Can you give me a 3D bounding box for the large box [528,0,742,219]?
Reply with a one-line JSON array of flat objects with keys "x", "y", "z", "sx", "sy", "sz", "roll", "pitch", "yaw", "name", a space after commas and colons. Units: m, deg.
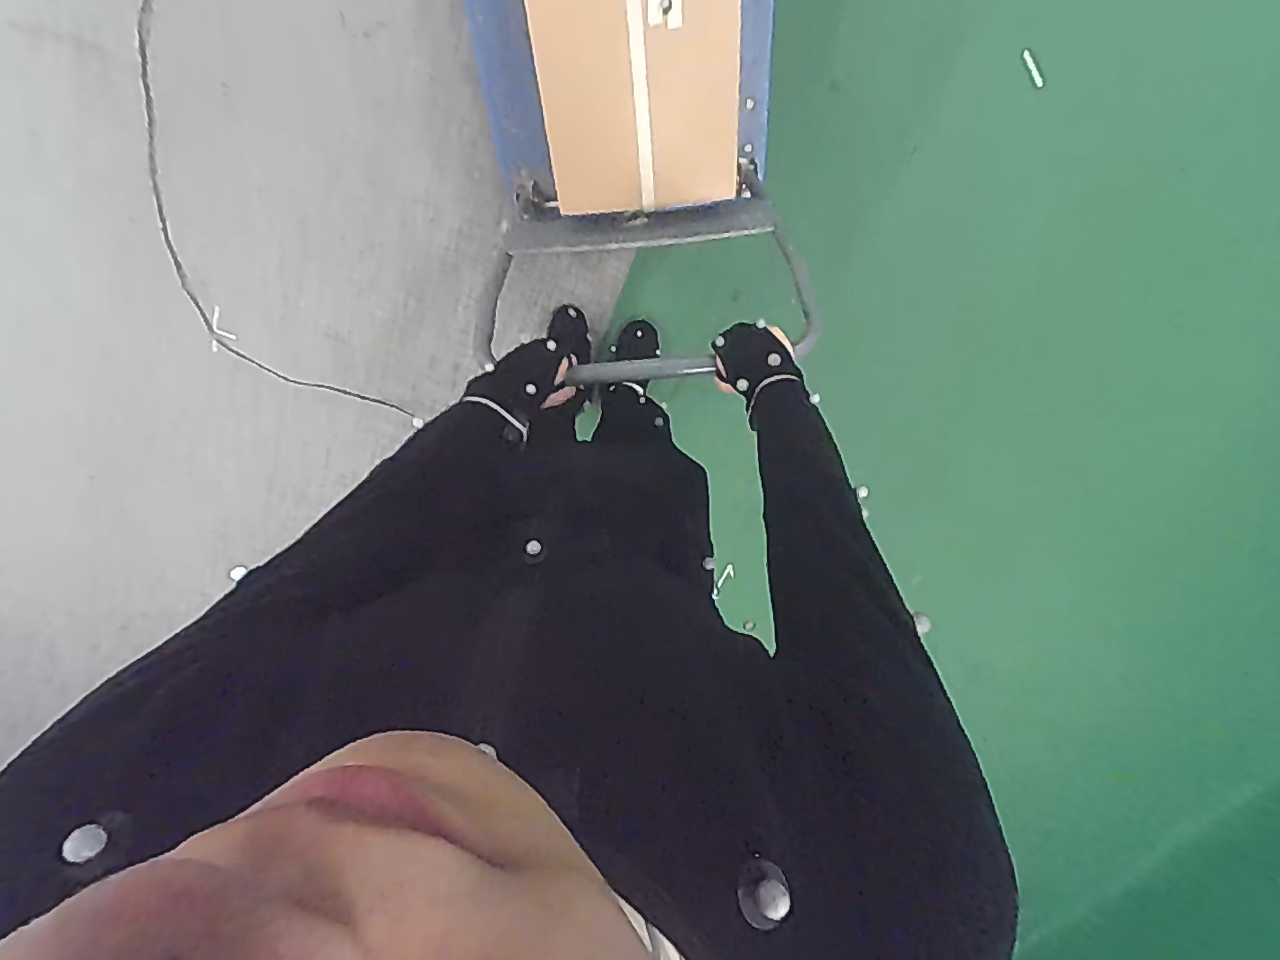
[{"x": 0.001, "y": -0.723, "z": 0.947, "sx": 0.320, "sy": 0.320, "sz": 0.408, "roll": -5, "pitch": 130, "yaw": 2, "name": "large box"}]
